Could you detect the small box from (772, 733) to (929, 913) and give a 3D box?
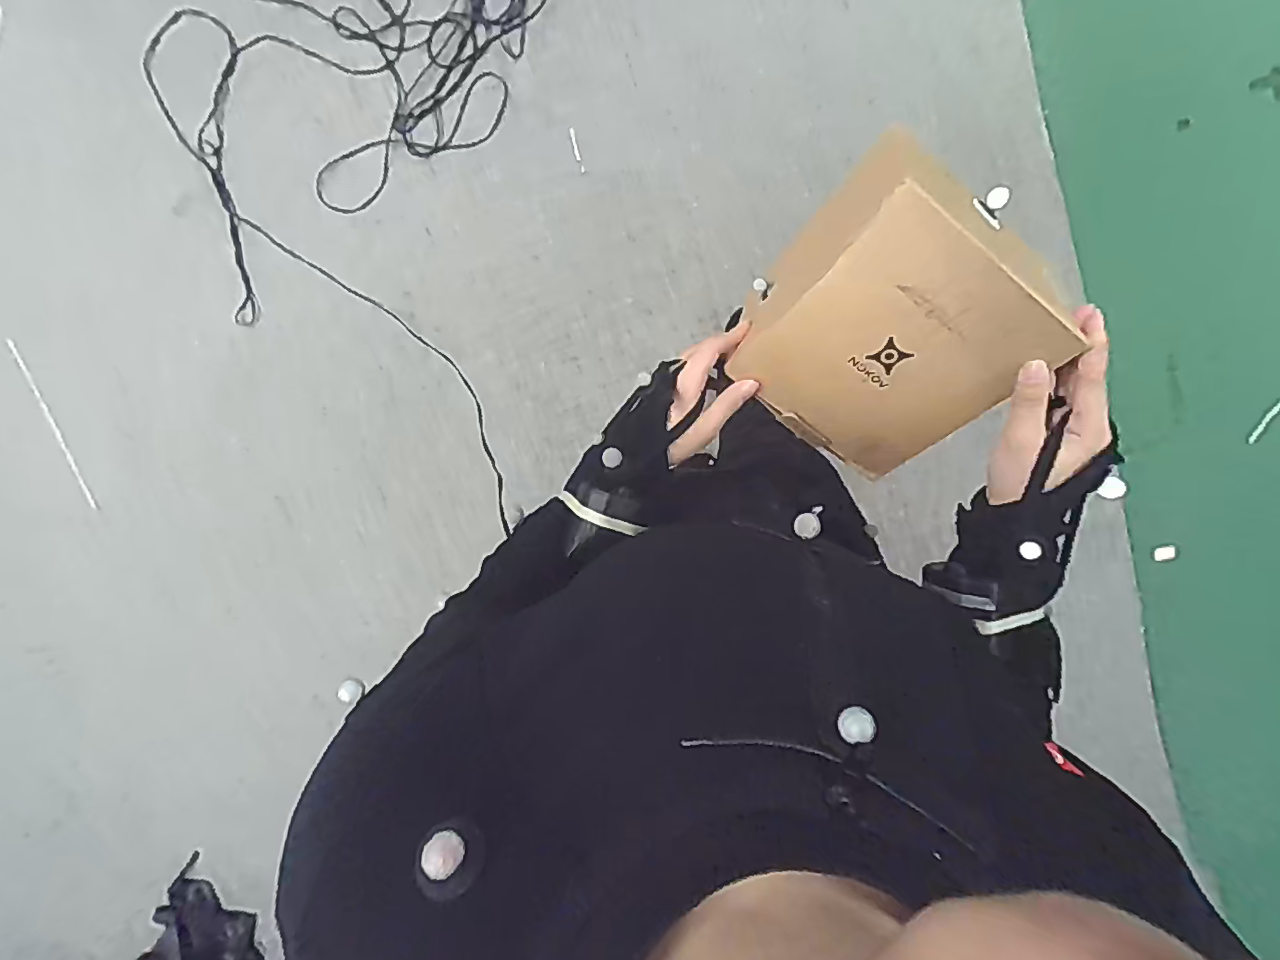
[{"bbox_3d":[0.326,0.534,0.865,0.179,0.176,0.168,-14,98,6],"label":"small box"}]
